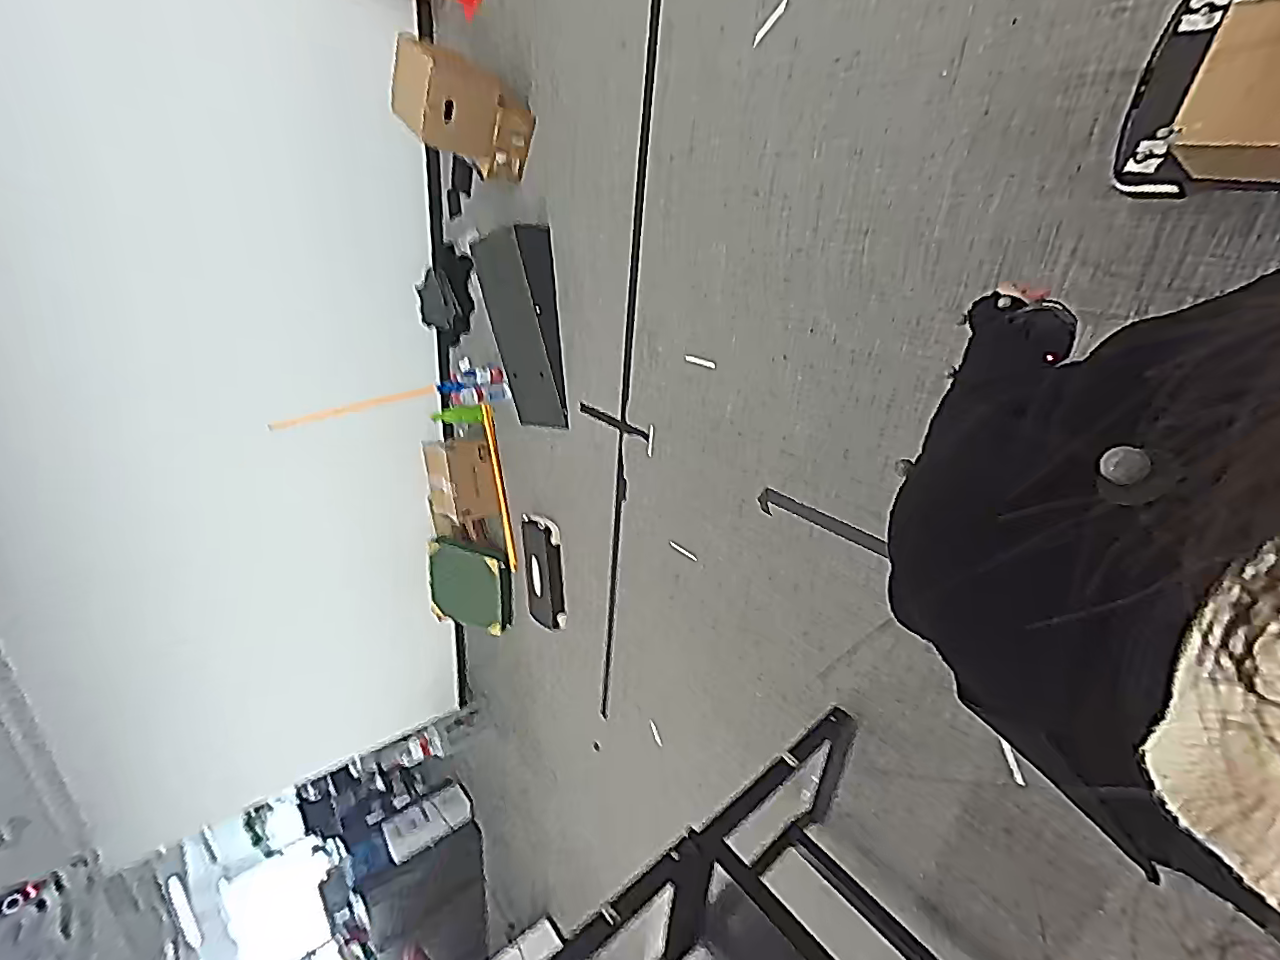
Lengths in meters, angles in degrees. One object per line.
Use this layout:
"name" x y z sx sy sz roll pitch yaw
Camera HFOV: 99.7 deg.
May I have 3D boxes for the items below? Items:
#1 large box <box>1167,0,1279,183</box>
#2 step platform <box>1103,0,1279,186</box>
"large box" 0.946 -0.515 0.600 0.408 0.320 0.320 34 125 41
"step platform" 1.111 -0.559 0.767 0.684 0.204 0.286 36 127 39
